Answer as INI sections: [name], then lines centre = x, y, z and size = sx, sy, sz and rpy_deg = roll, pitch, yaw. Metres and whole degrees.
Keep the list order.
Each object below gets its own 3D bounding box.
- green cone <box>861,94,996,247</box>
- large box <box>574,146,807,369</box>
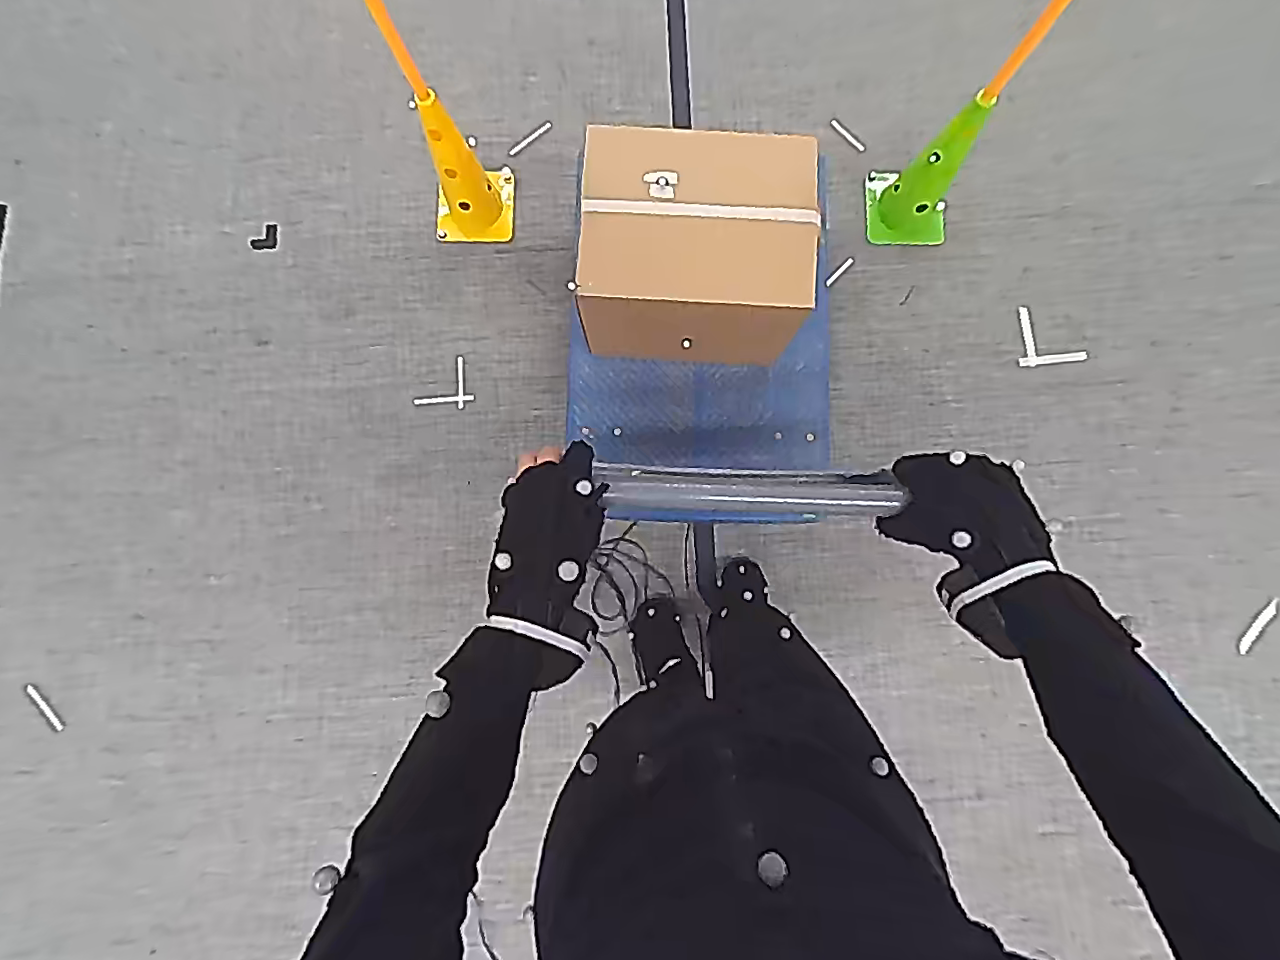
[green cone]
centre = 0.692, -0.736, 1.266
size = 0.202, 0.368, 0.200
rpy_deg = 1, 83, 0
[large box]
centre = 0.094, -0.419, 1.088
size = 0.408, 0.320, 0.320
rpy_deg = 3, 83, 1
